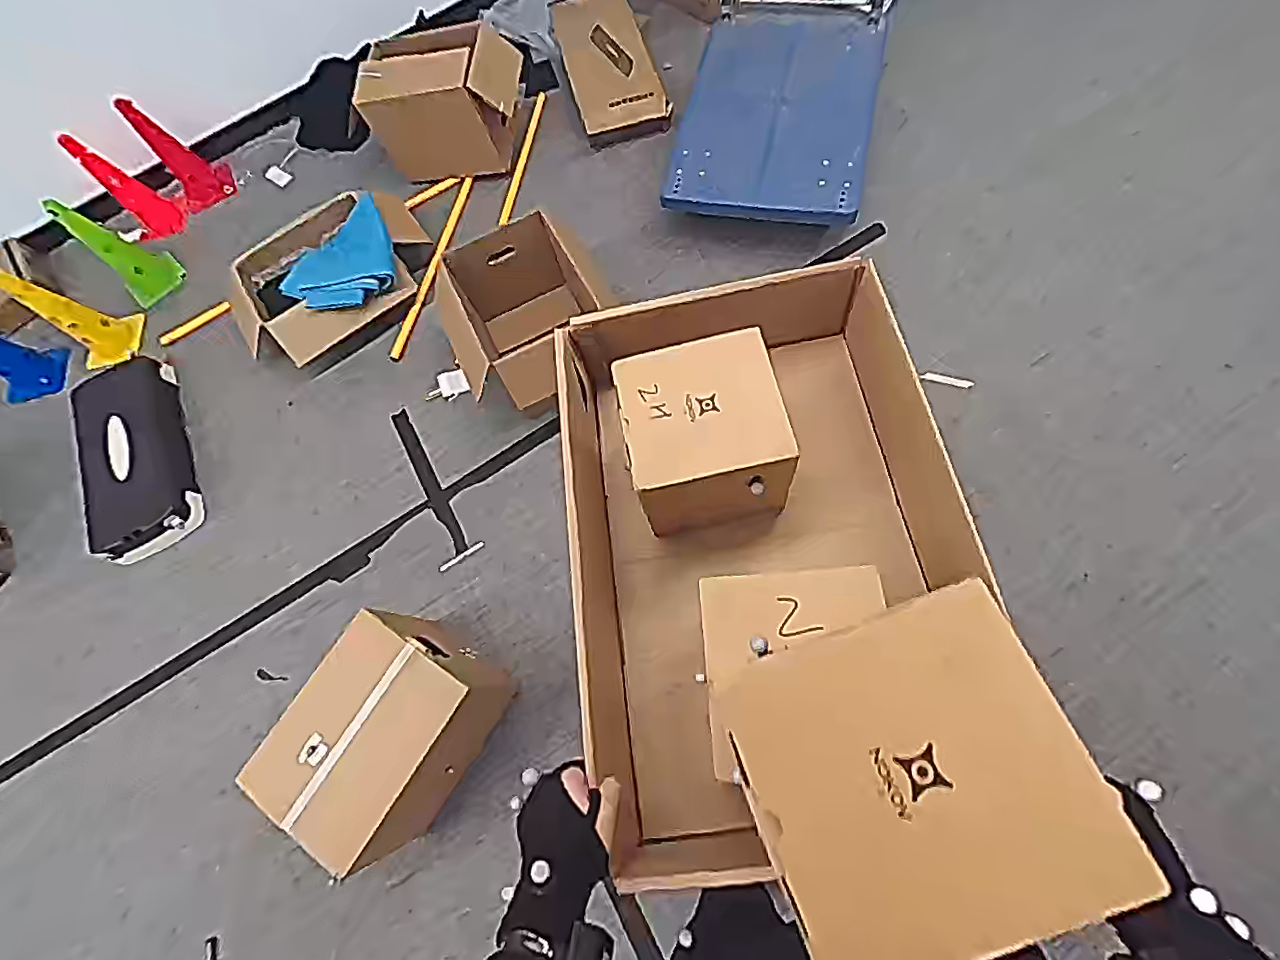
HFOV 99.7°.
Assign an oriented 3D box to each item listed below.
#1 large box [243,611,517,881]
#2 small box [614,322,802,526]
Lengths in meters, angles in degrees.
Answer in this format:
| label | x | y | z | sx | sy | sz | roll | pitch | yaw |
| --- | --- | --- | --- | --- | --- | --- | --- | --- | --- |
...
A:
| label | x | y | z | sx | sy | sz | roll | pitch | yaw |
| --- | --- | --- | --- | --- | --- | --- | --- | --- | --- |
| large box | -0.548 | 0.557 | 1.220 | 0.320 | 0.320 | 0.408 | 28 | 77 | 17 |
| small box | 0.077 | -0.057 | 0.653 | 0.179 | 0.176 | 0.168 | -12 | 67 | 4 |
